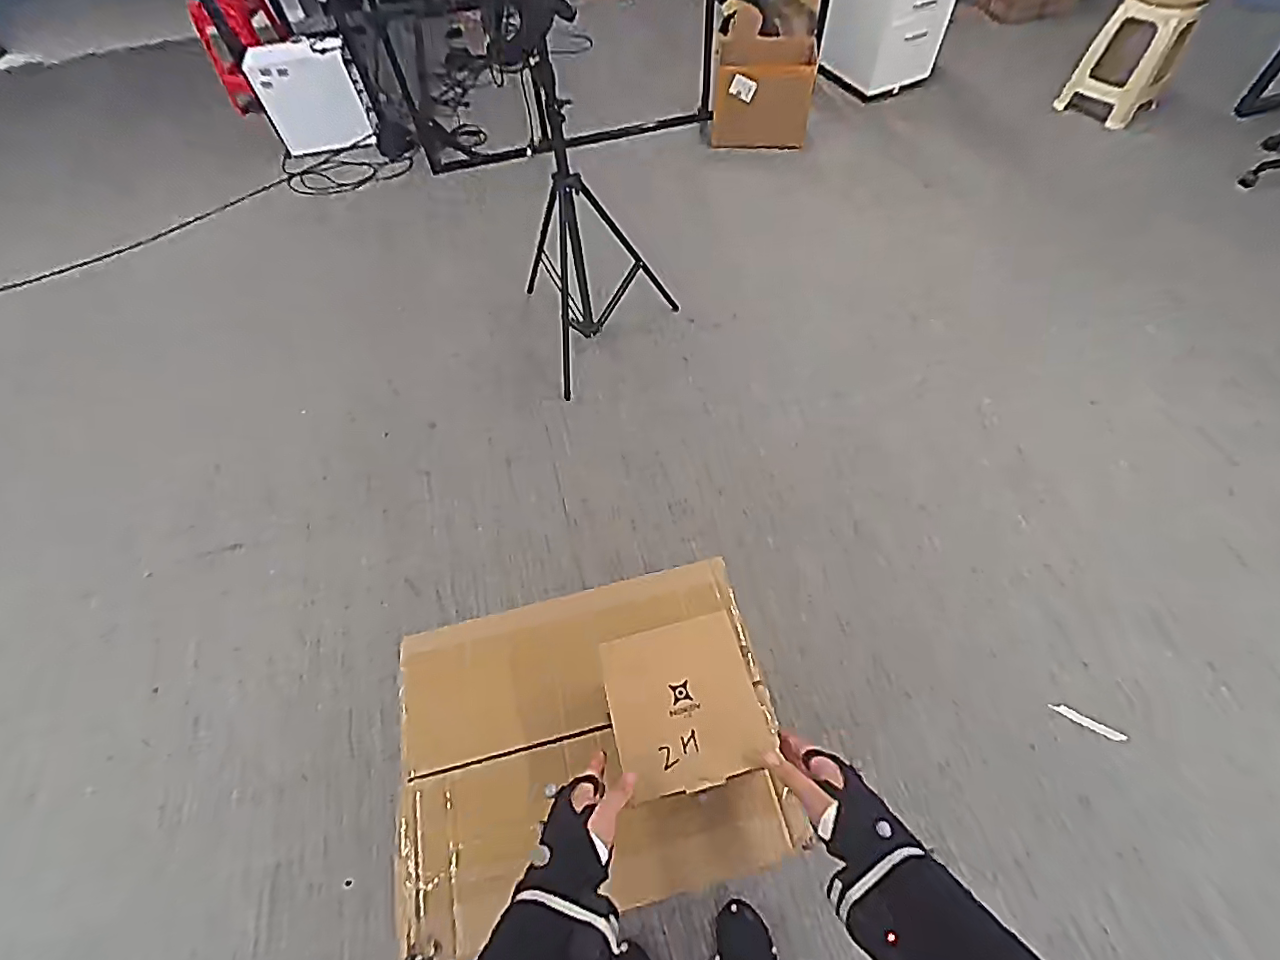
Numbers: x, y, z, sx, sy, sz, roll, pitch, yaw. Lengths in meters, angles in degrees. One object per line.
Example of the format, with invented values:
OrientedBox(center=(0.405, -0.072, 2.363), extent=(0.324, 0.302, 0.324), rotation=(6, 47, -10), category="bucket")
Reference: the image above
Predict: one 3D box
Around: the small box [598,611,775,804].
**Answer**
OrientedBox(center=(0.050, 0.291, 0.681), extent=(0.168, 0.176, 0.179), rotation=(-14, 60, -4), category="small box")
